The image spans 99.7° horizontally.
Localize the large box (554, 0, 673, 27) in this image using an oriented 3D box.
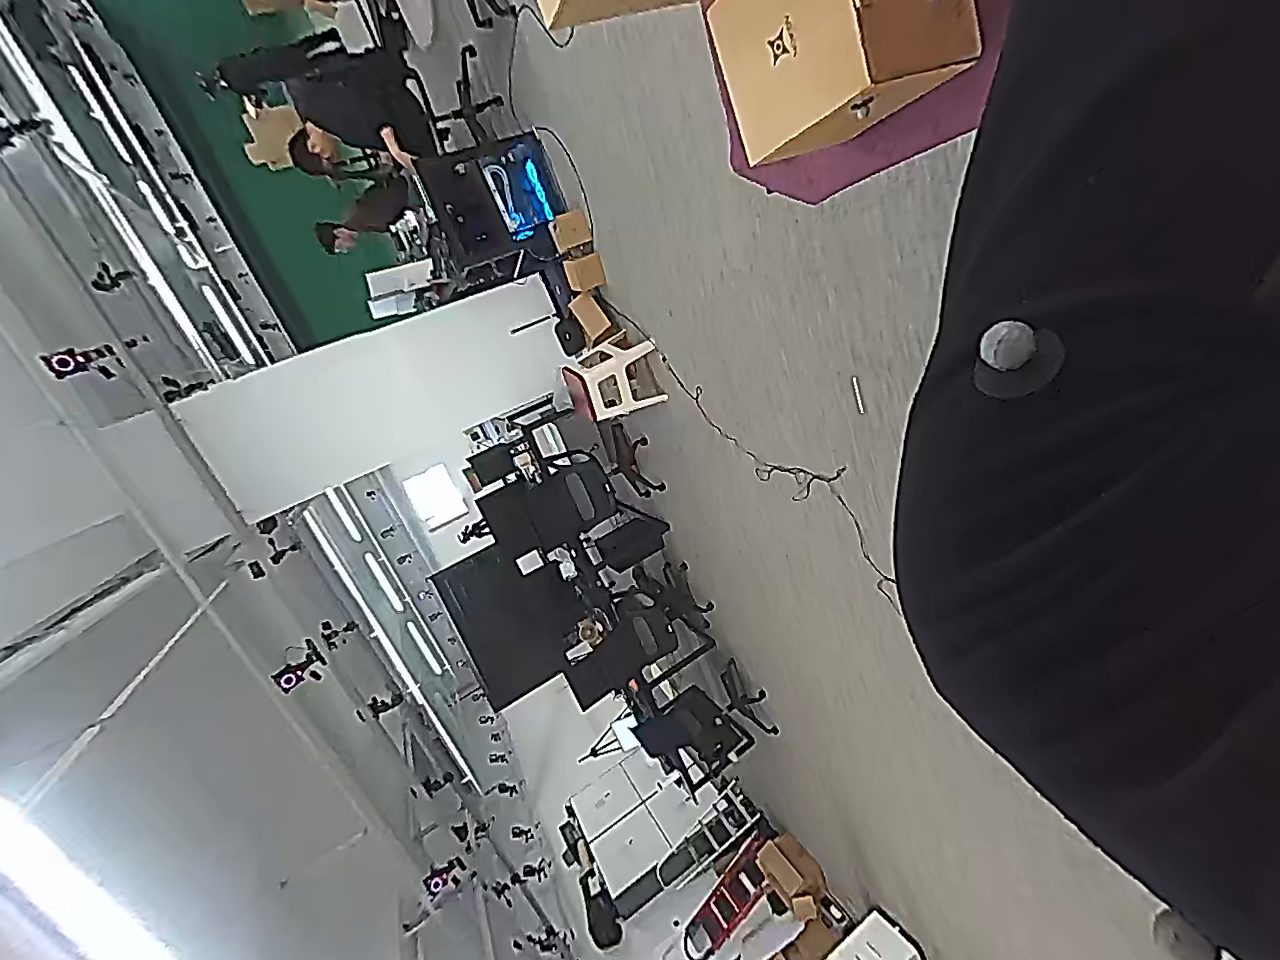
[{"bbox_3d":[0.020,-0.740,0.470,0.320,0.320,0.408,16,135,64],"label":"large box"}]
